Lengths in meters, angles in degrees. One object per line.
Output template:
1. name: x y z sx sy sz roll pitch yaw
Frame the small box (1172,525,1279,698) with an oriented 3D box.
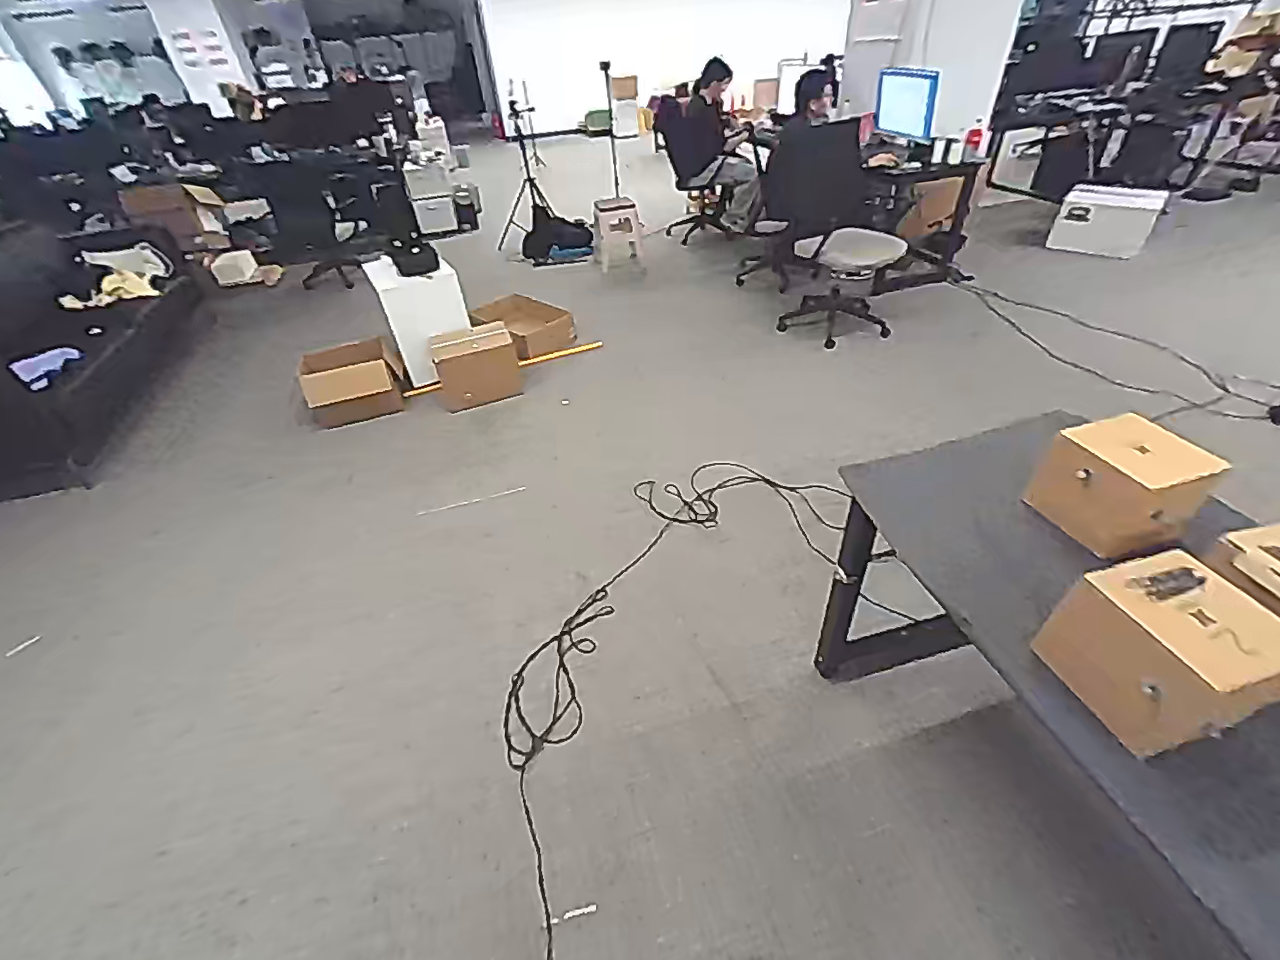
1. small box: 0.911 0.179 0.753 0.179 0.176 0.168 -9 40 -6
